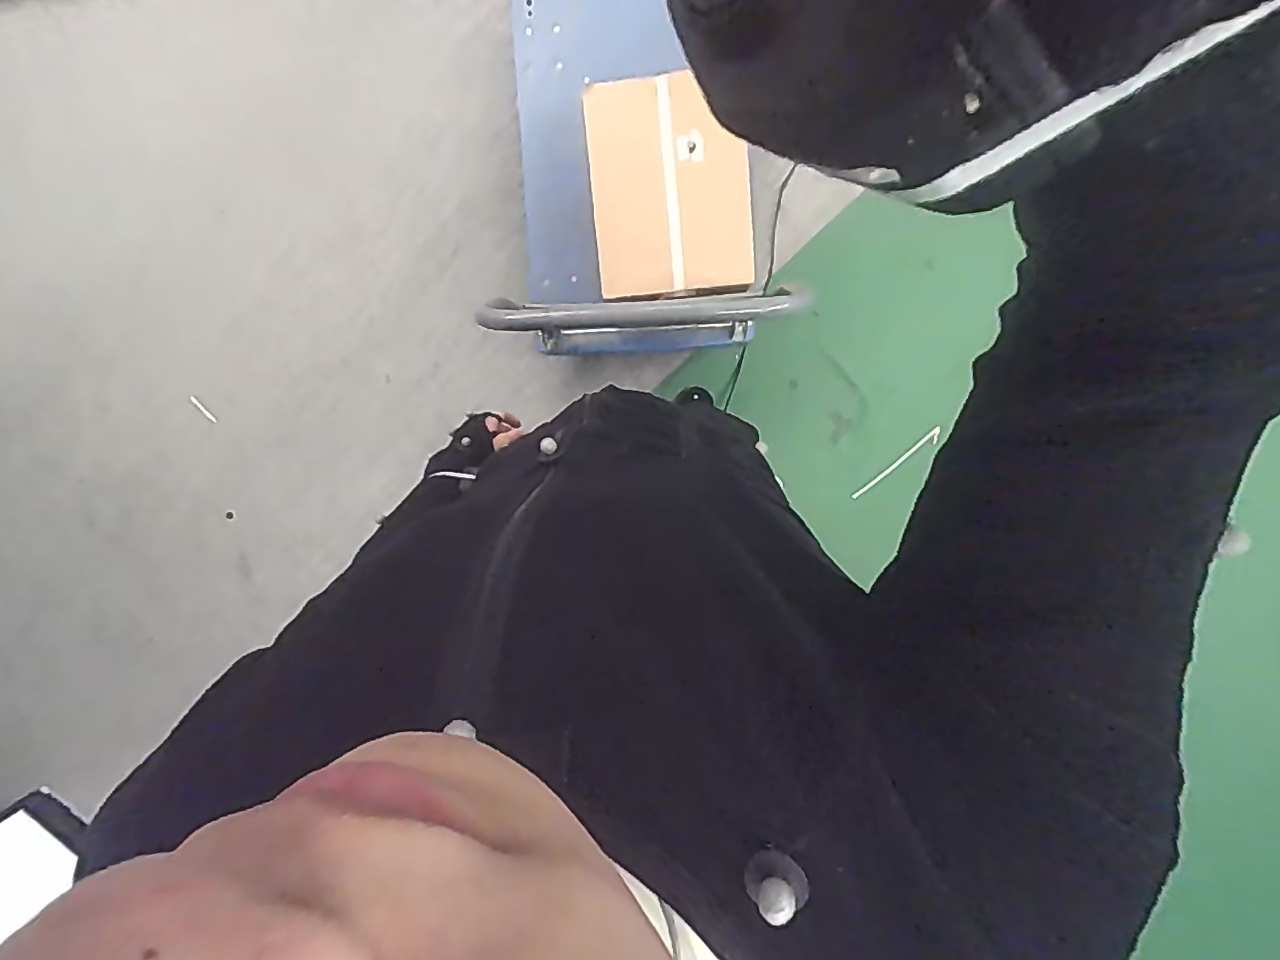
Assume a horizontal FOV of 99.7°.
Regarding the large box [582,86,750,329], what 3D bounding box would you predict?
[{"bbox_3d":[0.061,-0.588,1.245,0.320,0.320,0.408,-5,97,2],"label":"large box"}]
